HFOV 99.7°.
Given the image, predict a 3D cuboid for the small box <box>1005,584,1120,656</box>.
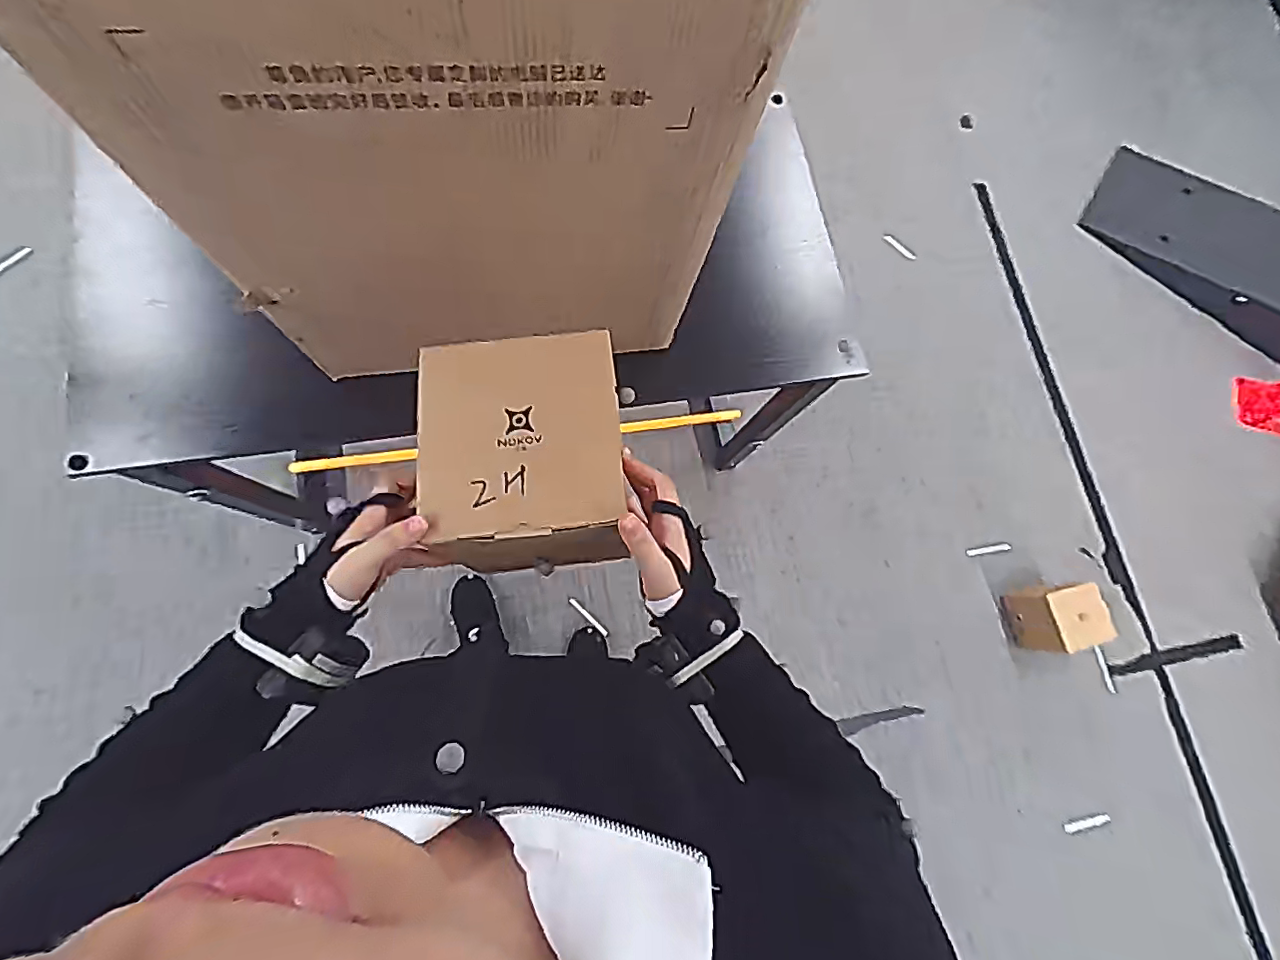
[{"bbox_3d":[1.231,0.407,1.586,0.179,0.176,0.168,-12,78,-10],"label":"small box"}]
